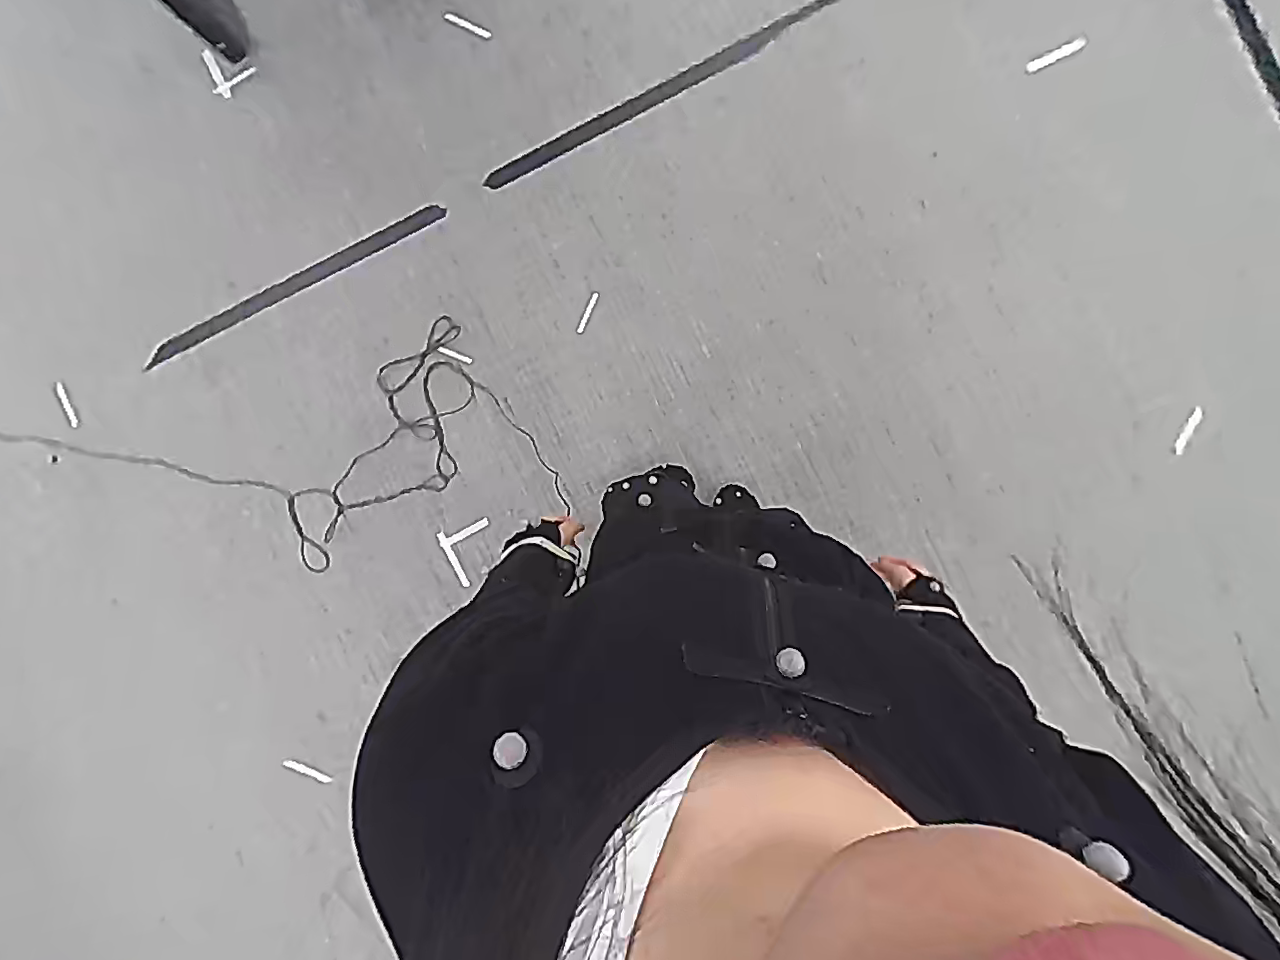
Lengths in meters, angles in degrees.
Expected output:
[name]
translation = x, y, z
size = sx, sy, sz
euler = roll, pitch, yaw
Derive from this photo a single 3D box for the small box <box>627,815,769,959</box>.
[small box]
translation = 0.090, 0.667, 0.851
size = 0.168, 0.176, 0.179
euler = -22, 90, 5
